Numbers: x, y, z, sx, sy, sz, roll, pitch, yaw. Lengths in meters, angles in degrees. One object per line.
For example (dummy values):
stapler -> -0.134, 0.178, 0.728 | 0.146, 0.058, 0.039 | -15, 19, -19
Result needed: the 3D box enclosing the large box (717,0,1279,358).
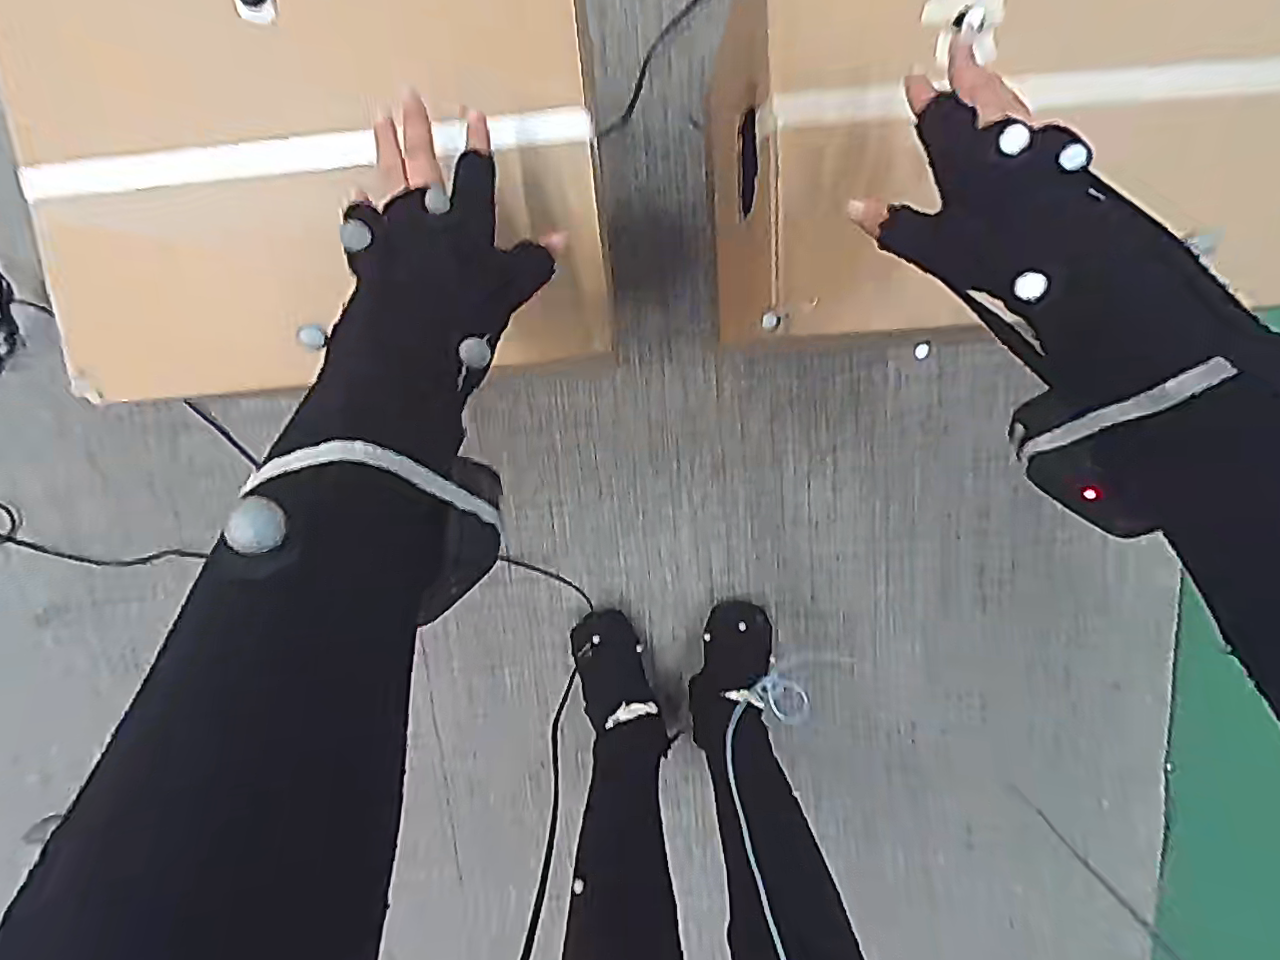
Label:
large box -> 0.304, -0.299, 0.563 | 0.408, 0.320, 0.320 | -3, 100, 0
